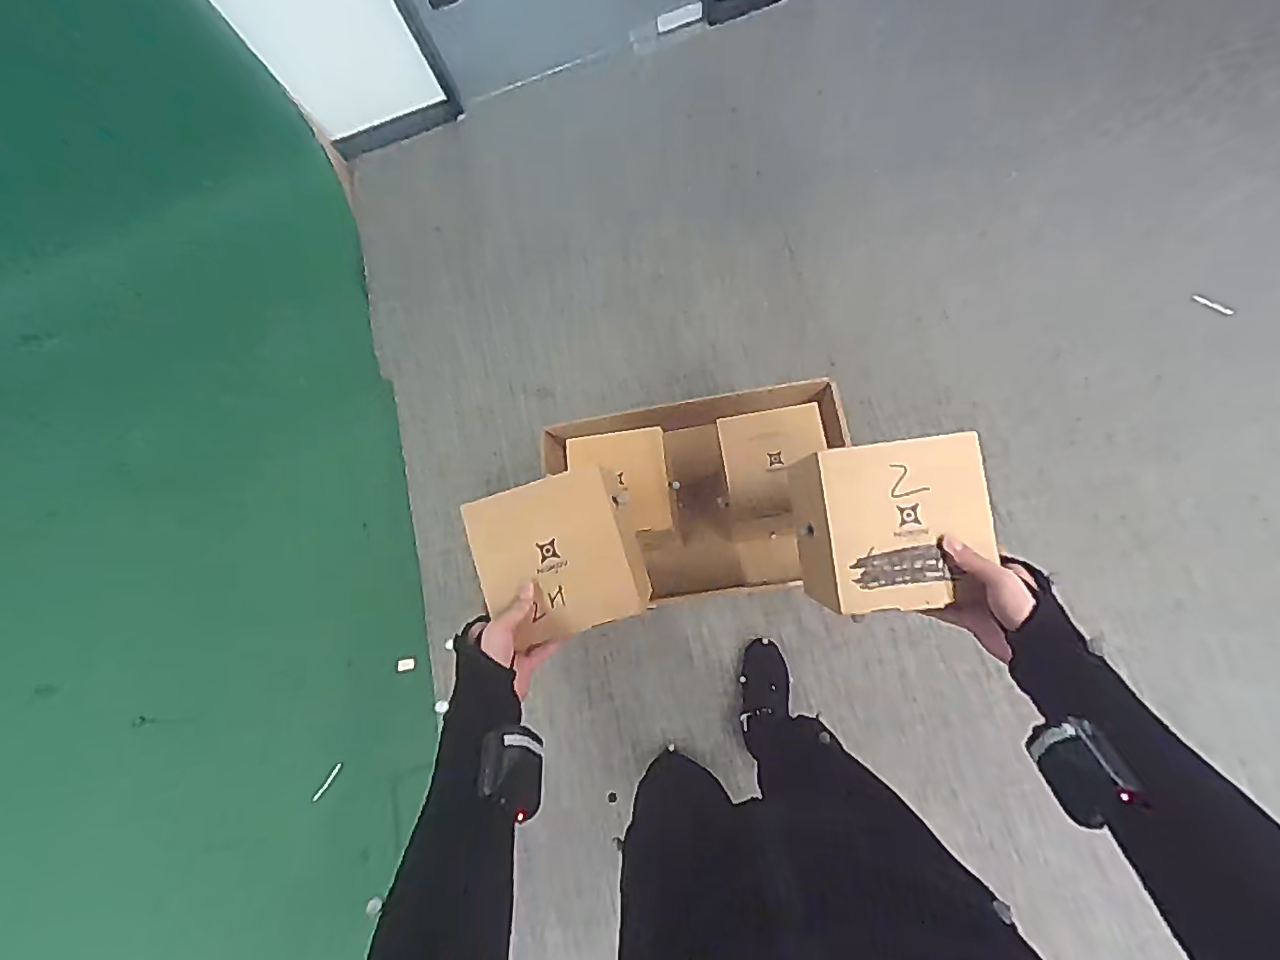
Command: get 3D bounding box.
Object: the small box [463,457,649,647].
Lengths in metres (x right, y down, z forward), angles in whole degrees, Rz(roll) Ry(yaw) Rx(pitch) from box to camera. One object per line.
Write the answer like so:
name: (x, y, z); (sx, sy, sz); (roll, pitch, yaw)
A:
small box: (-0.092, 0.084, 0.667); (0.168, 0.176, 0.179); (-16, 85, 4)

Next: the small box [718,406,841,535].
small box: (0.228, -0.006, 0.919); (0.168, 0.176, 0.179); (-8, 74, 6)

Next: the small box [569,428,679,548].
small box: (-0.024, 0.025, 0.955); (0.168, 0.176, 0.179); (-7, 76, 7)

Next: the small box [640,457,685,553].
small box: (-0.007, 0.061, 1.114); (0.179, 0.176, 0.168); (-7, 75, 7)
